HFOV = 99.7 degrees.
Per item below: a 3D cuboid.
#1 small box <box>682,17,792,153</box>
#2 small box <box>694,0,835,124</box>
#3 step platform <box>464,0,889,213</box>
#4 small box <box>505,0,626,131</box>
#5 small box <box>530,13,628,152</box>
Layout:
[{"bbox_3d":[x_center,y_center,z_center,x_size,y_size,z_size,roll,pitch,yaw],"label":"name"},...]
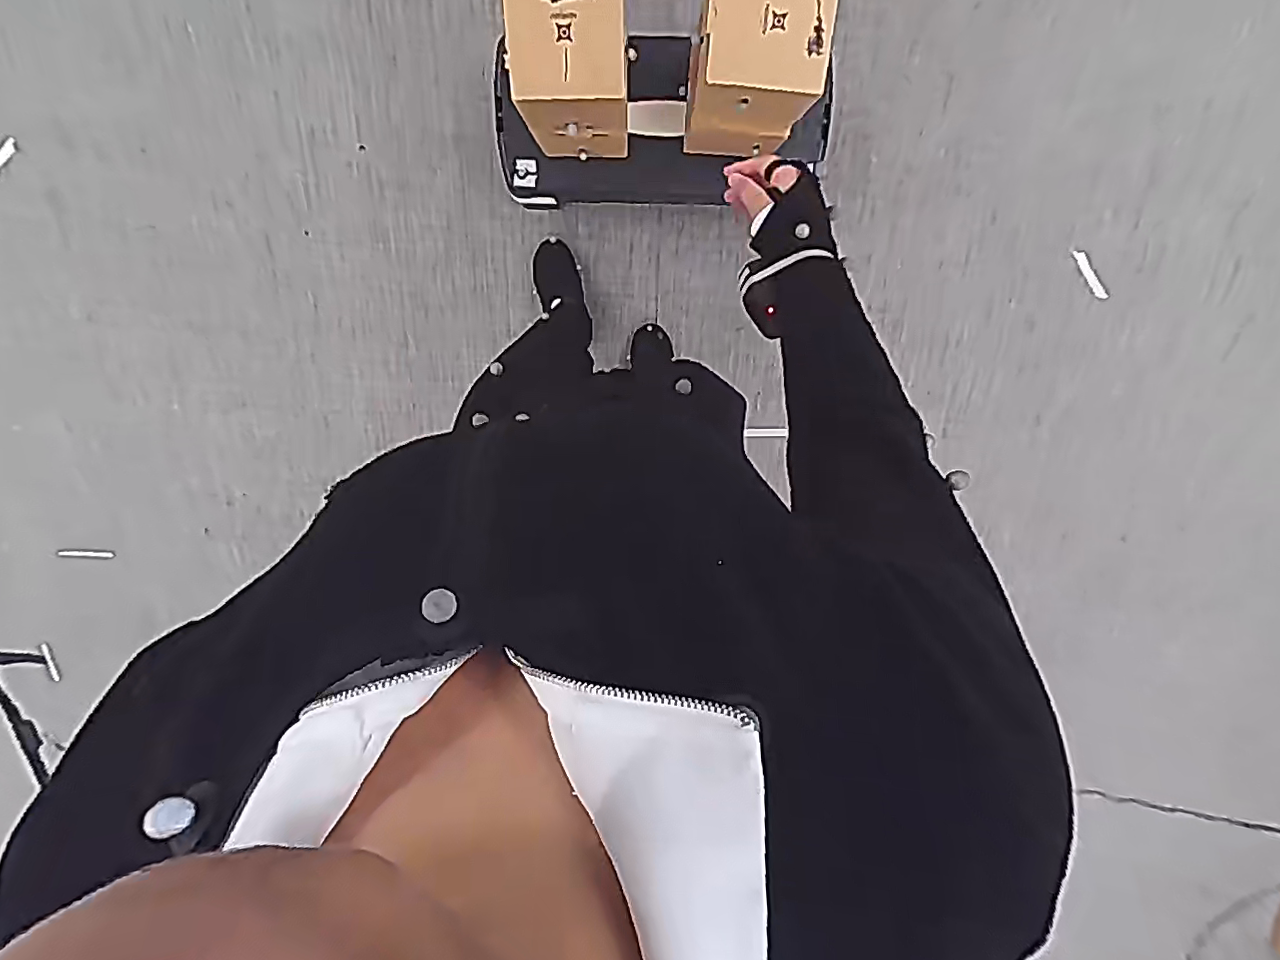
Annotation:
[{"bbox_3d":[0.174,-0.700,0.981,0.179,0.176,0.168,1,109,-1],"label":"small box"},{"bbox_3d":[0.180,-0.663,0.822,0.179,0.176,0.168,4,110,-1],"label":"small box"},{"bbox_3d":[0.057,-0.644,0.960,0.684,0.204,0.286,0,109,-2],"label":"step platform"},{"bbox_3d":[-0.105,-0.652,0.816,0.168,0.176,0.179,-1,110,-1],"label":"small box"},{"bbox_3d":[-0.107,-0.703,0.973,0.168,0.176,0.179,1,110,-1],"label":"small box"}]
